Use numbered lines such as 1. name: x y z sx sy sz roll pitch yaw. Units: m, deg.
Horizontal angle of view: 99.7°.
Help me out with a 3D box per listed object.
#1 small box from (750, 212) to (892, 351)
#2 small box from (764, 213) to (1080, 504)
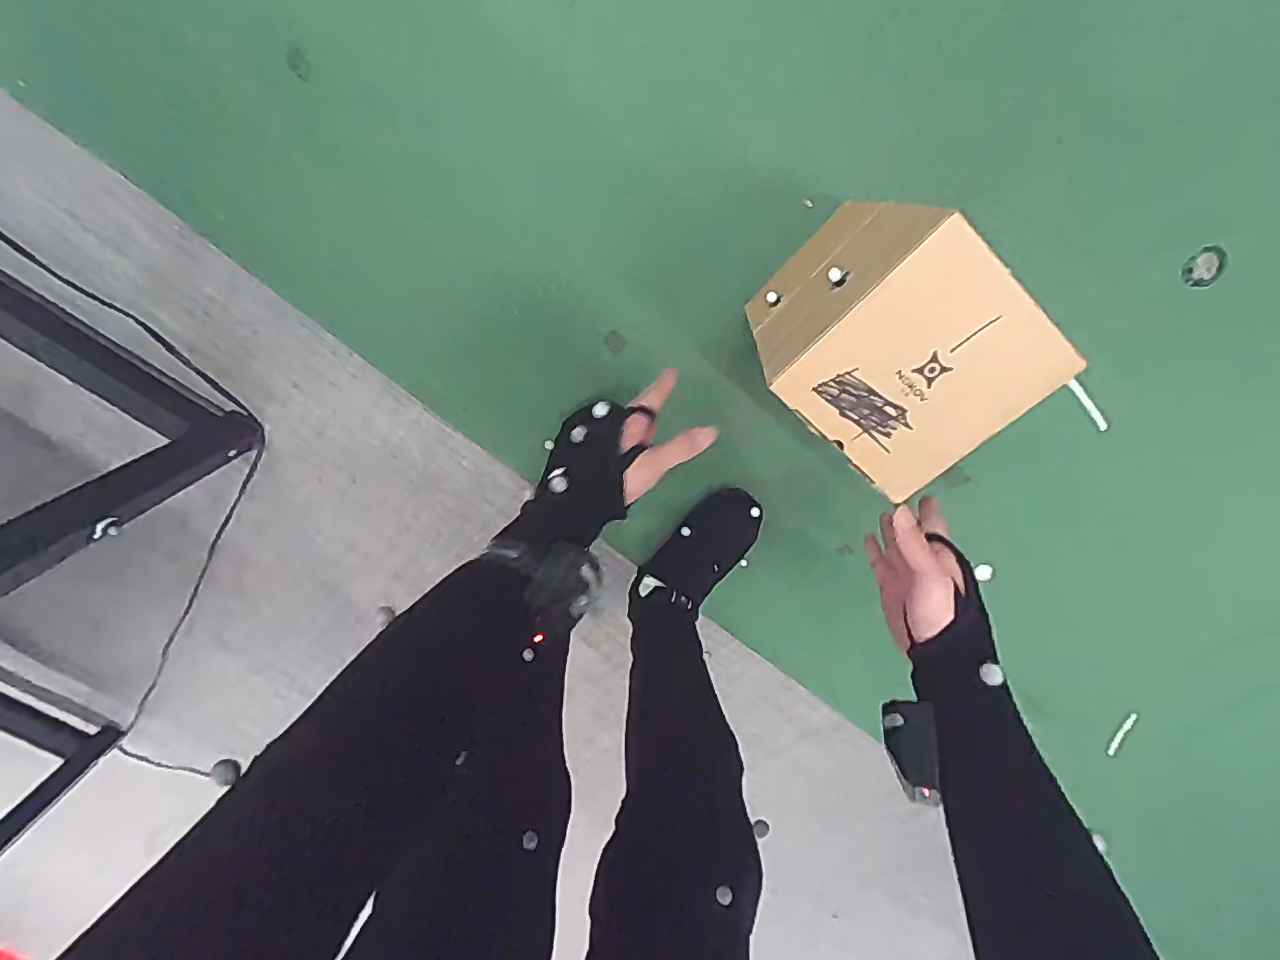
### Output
1. small box: 0.248 -0.194 0.644 0.168 0.176 0.179 39 116 -14
2. small box: 0.231 -0.118 0.500 0.168 0.176 0.179 39 114 -14
